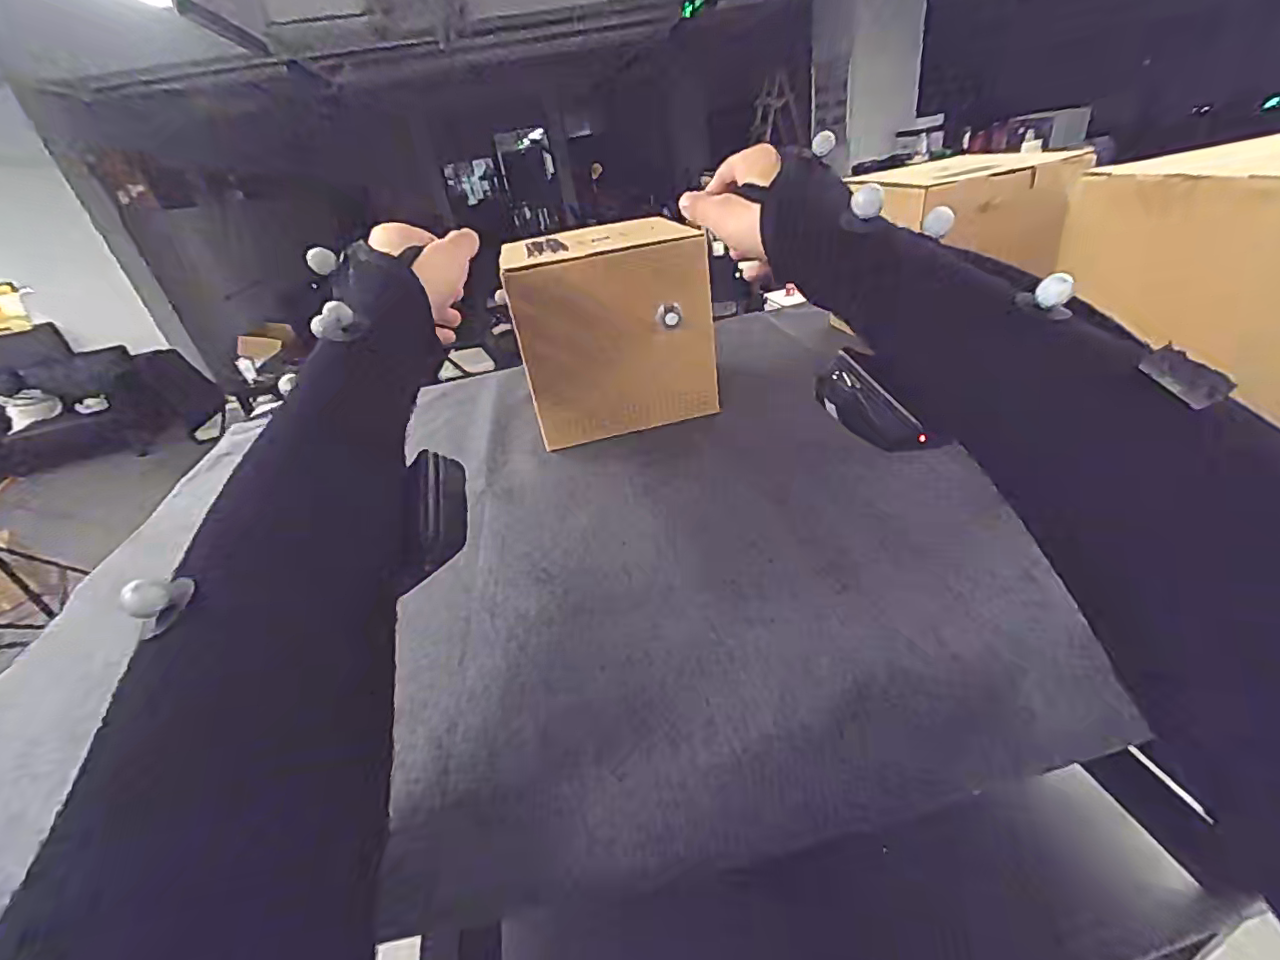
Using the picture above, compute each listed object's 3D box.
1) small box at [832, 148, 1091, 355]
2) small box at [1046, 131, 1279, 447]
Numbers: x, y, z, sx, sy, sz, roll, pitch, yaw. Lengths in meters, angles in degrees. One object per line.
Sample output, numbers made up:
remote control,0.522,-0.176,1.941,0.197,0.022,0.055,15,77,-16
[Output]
small box,0.326,-0.246,0.589,0.168,0.176,0.179,-13,31,-4
small box,0.437,-0.140,0.381,0.179,0.176,0.168,-10,30,3
